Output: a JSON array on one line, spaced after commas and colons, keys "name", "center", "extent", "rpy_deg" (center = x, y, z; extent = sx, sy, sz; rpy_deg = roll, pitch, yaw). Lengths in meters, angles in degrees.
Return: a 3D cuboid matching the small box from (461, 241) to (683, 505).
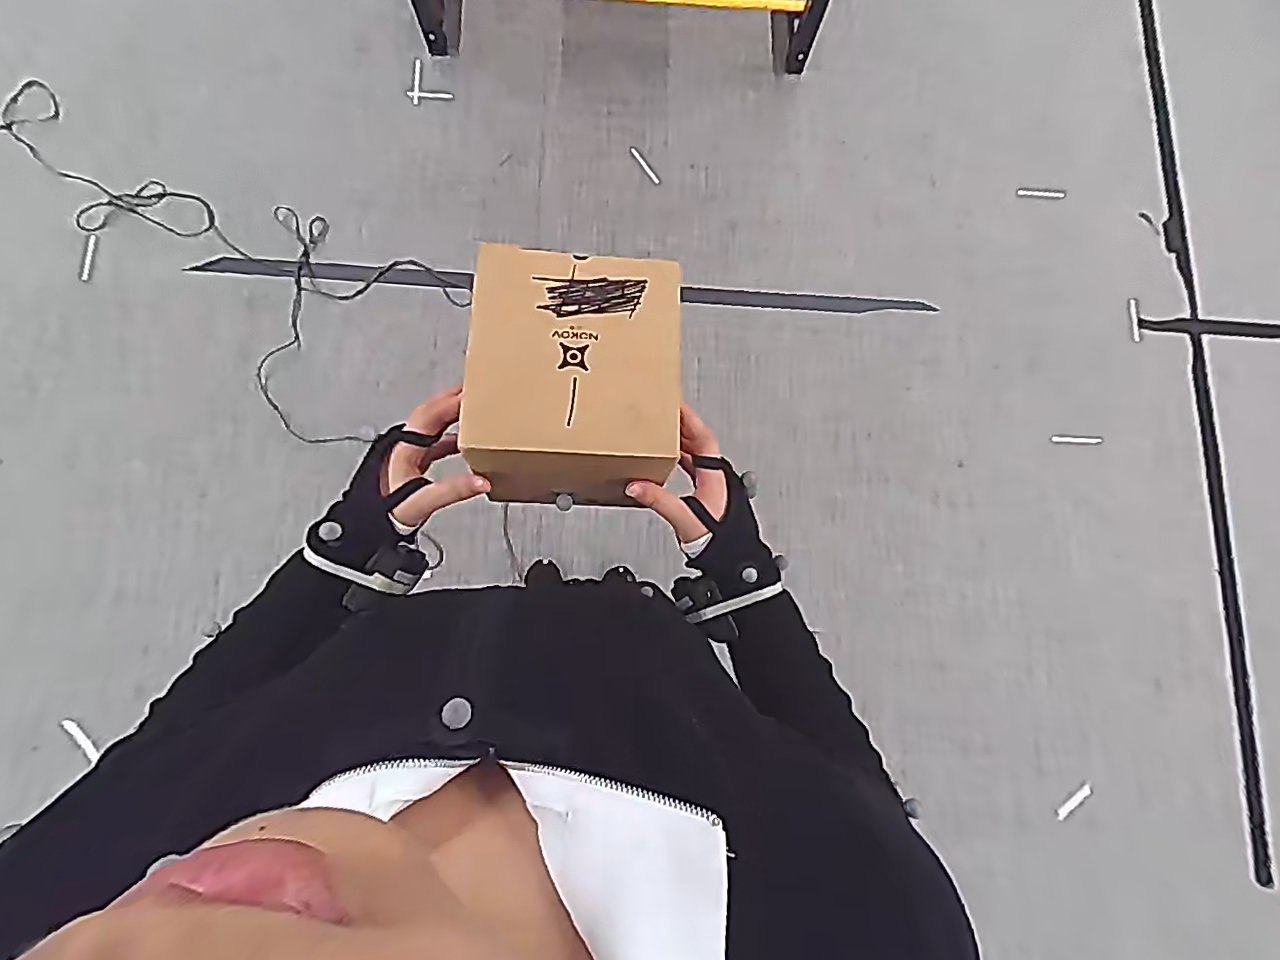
[{"name": "small box", "center": [-0.057, -0.084, 0.497], "extent": [0.168, 0.176, 0.179], "rpy_deg": [3, 74, -6]}]
